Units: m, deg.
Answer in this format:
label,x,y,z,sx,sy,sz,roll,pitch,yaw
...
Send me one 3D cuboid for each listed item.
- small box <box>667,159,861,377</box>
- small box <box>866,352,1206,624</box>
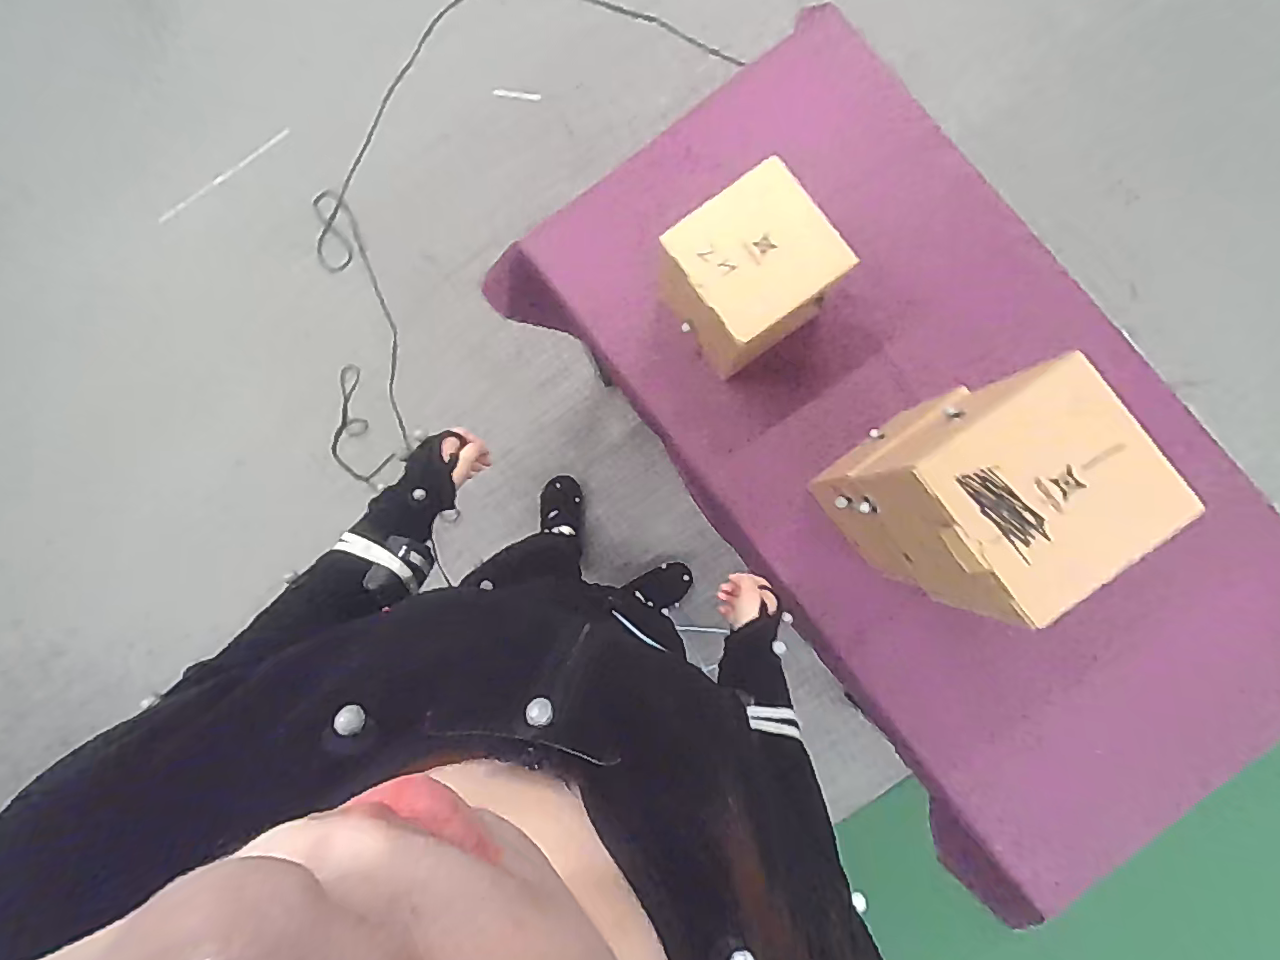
label,x,y,z,sx,sy,sz,roll,pitch,yaw
small box,0.148,-0.265,0.717,0.179,0.176,0.168,-36,85,0
small box,0.349,0.012,0.525,0.179,0.176,0.168,-35,86,-2
